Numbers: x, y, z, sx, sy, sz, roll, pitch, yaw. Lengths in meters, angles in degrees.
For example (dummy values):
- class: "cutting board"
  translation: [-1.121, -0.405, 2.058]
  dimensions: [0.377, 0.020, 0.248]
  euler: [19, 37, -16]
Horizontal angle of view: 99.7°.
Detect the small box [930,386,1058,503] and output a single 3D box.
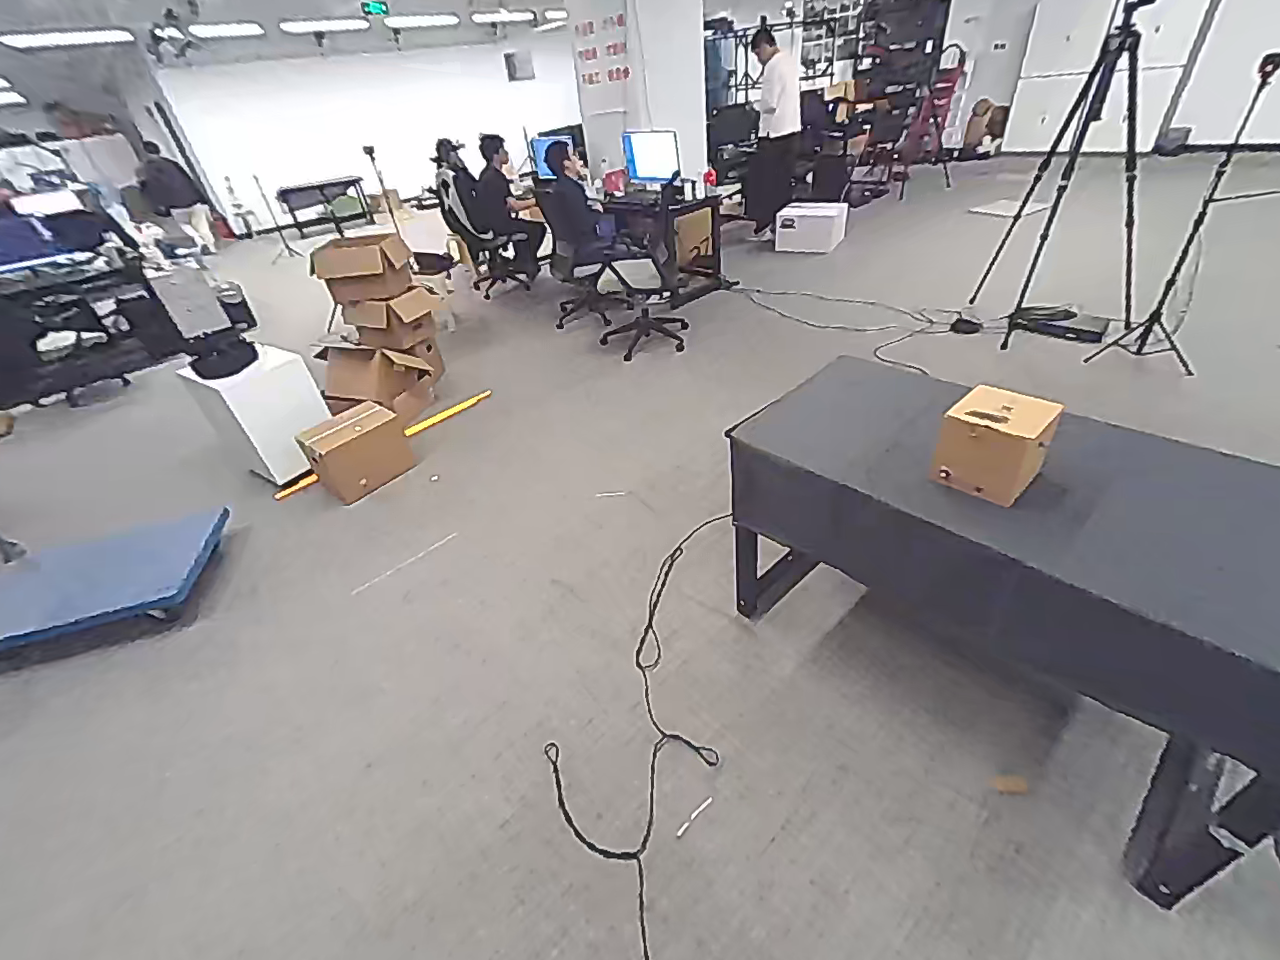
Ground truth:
- class: "small box"
  translation: [0.750, -0.077, 1.162]
  dimensions: [0.179, 0.176, 0.168]
  euler: [-31, 42, -30]
